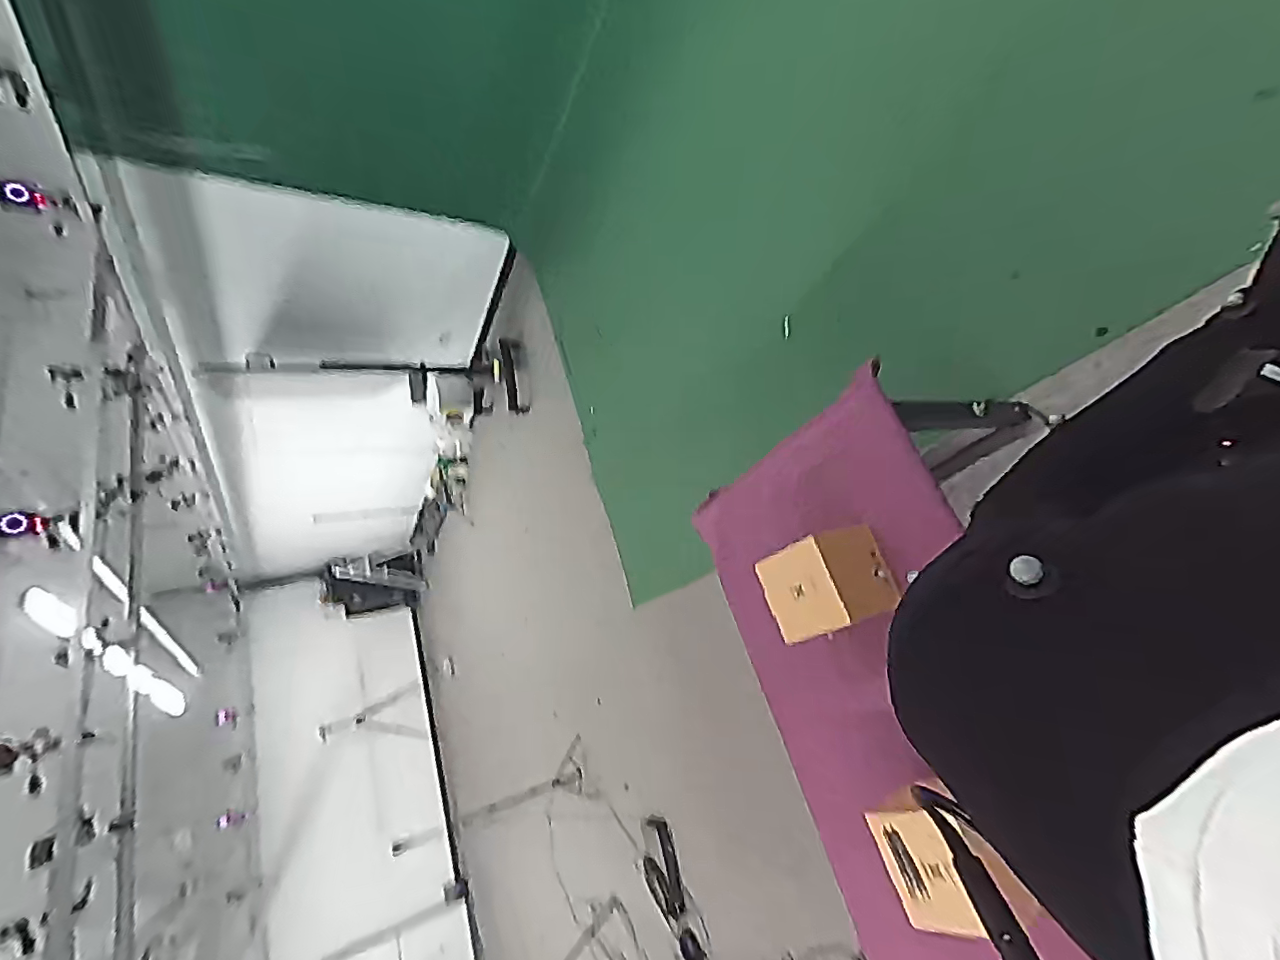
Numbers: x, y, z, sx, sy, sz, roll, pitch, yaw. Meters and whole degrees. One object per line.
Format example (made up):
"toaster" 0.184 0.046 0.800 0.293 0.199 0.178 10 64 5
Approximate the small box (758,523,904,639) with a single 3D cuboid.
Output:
"small box" 0.371 0.198 1.062 0.179 0.176 0.168 -45 59 52
